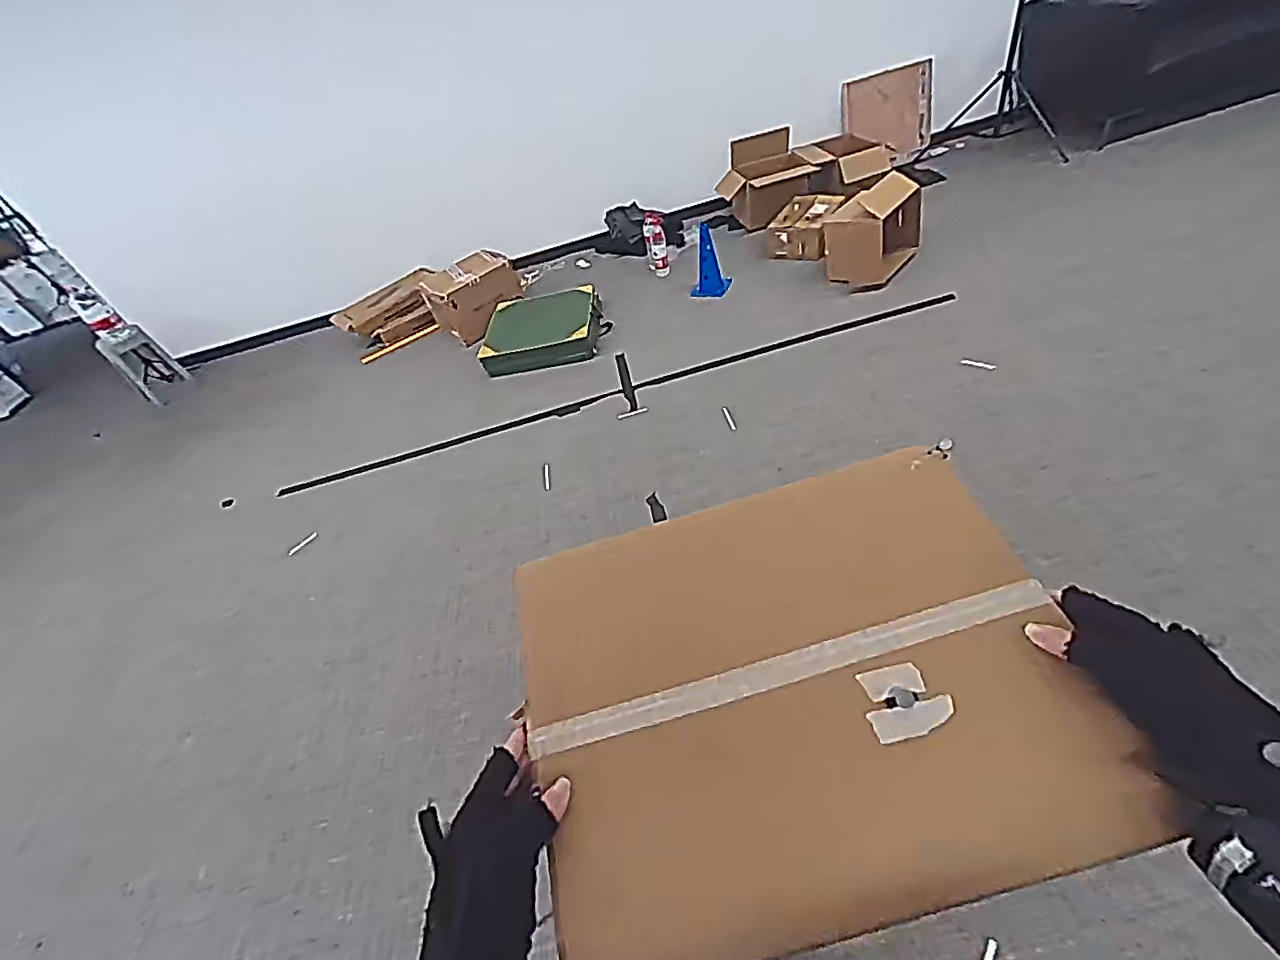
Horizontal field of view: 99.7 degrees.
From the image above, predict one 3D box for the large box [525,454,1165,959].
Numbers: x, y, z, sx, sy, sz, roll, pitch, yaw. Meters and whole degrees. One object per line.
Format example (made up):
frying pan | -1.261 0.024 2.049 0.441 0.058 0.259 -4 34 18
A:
large box | 0.138 0.235 0.551 0.408 0.320 0.320 -17 55 1
